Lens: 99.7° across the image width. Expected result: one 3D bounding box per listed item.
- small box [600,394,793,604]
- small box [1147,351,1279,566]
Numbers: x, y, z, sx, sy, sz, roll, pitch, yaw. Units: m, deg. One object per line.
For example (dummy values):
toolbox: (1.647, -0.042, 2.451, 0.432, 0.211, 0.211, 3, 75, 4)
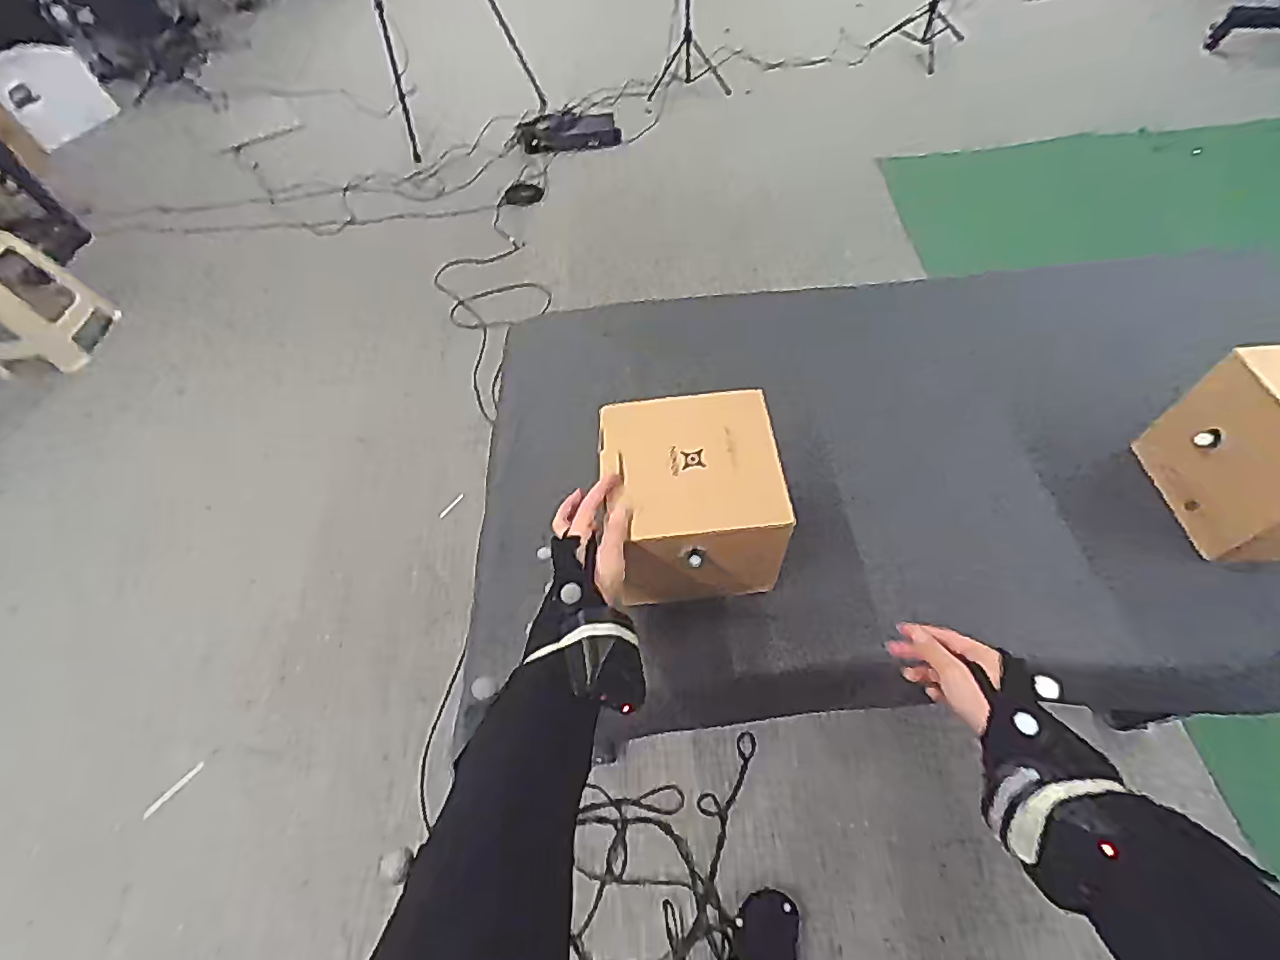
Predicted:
small box: (0.055, 0.029, 0.599, 0.179, 0.176, 0.168, -6, 57, 1)
small box: (0.694, -0.019, 0.563, 0.179, 0.176, 0.168, -3, 55, 4)
